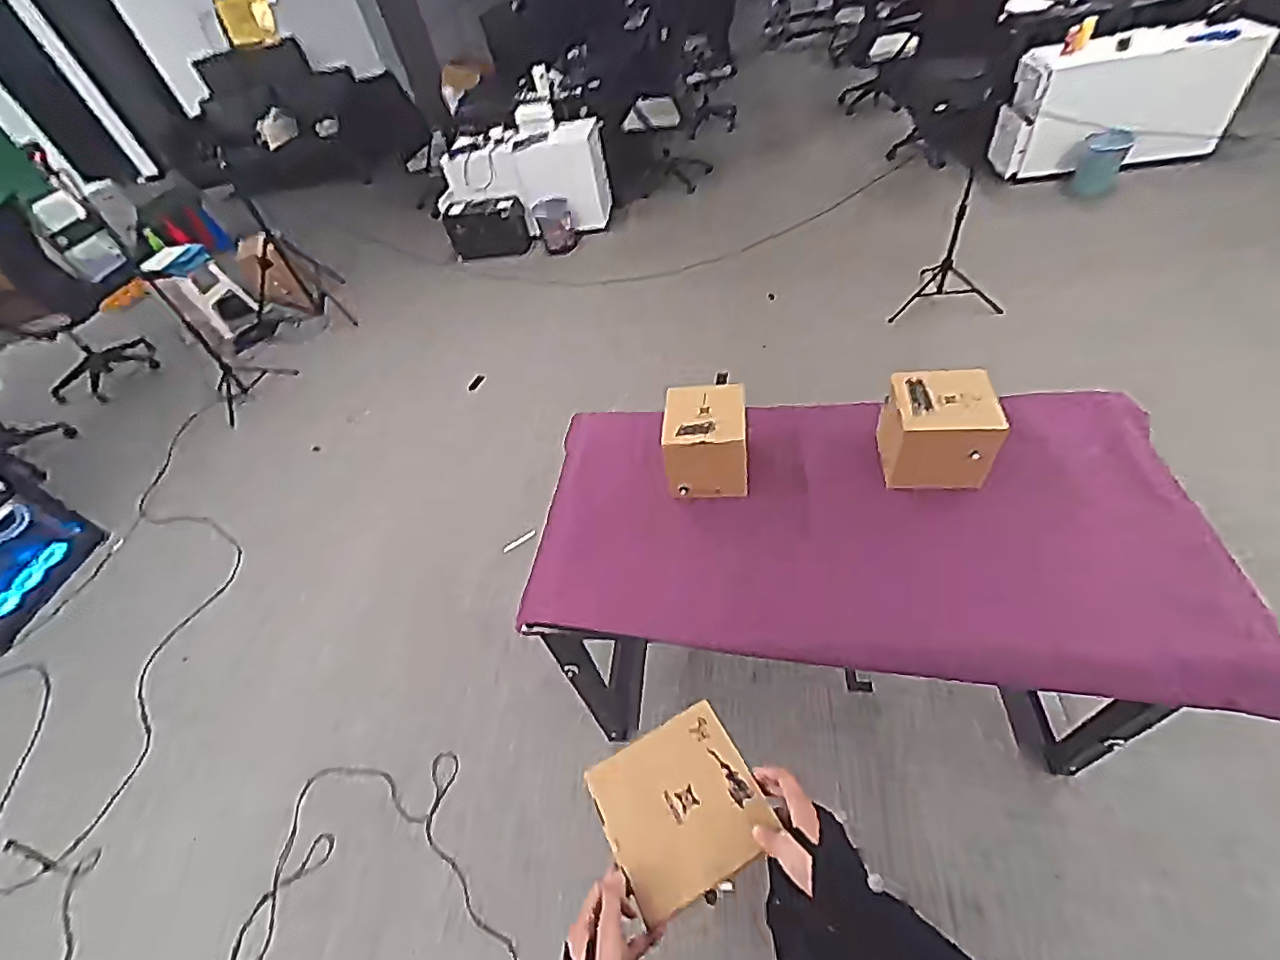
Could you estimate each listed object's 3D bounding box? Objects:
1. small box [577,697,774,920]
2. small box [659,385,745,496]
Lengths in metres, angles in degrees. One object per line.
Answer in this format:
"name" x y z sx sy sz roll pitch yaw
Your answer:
"small box" 0.046 0.412 0.677 0.179 0.176 0.168 -26 53 -13
"small box" 0.139 -0.079 1.159 0.168 0.176 0.179 -1 49 11
